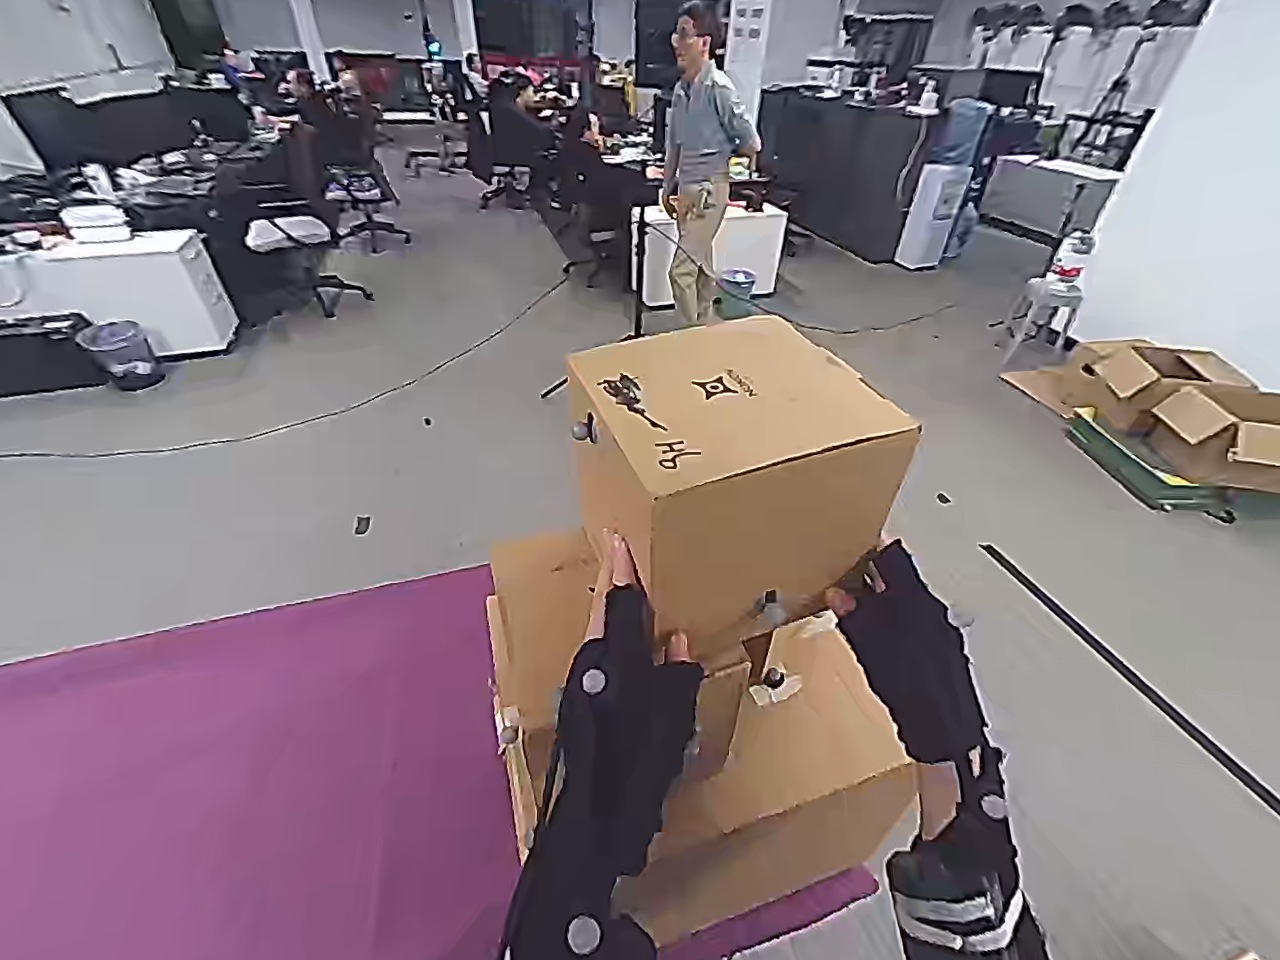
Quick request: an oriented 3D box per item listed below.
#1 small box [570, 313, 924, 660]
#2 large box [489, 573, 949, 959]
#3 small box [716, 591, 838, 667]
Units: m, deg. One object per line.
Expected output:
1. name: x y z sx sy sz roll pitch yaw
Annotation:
1. small box: 0.056 -0.001 0.396 0.179 0.176 0.168 -14 42 -16
2. large box: 0.057 0.310 0.660 0.408 0.320 0.320 -11 41 -15
3. small box: 0.115 0.061 0.579 0.179 0.176 0.168 30 48 33
